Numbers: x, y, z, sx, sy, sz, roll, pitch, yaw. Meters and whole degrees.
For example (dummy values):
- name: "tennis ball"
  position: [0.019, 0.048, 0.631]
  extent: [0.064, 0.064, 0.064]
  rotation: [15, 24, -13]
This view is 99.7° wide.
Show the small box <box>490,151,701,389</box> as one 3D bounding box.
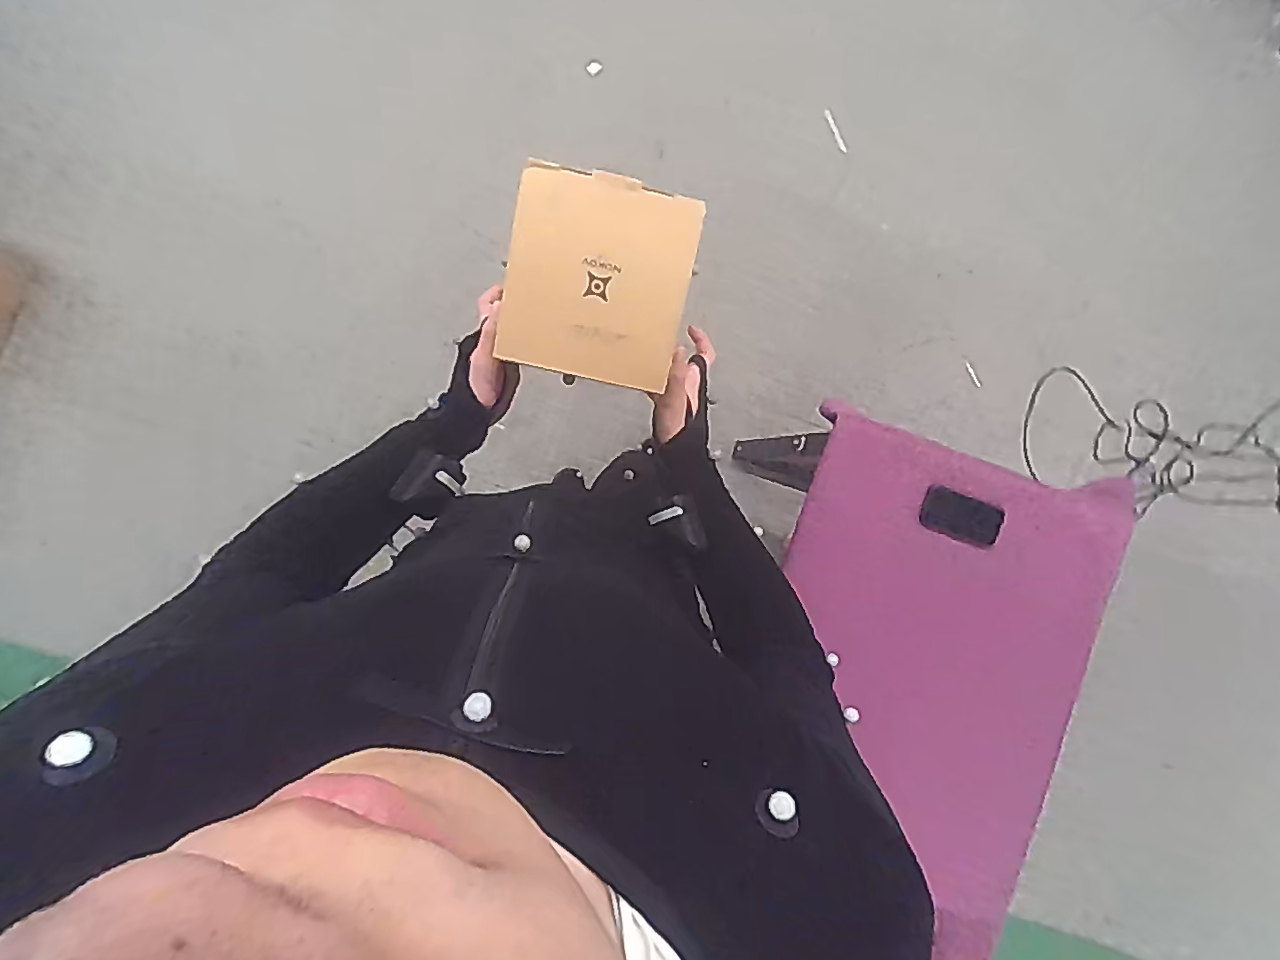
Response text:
- name: "small box"
  position: [-0.045, -0.202, 0.564]
  extent: [0.168, 0.176, 0.179]
  rotation: [11, 103, -4]
